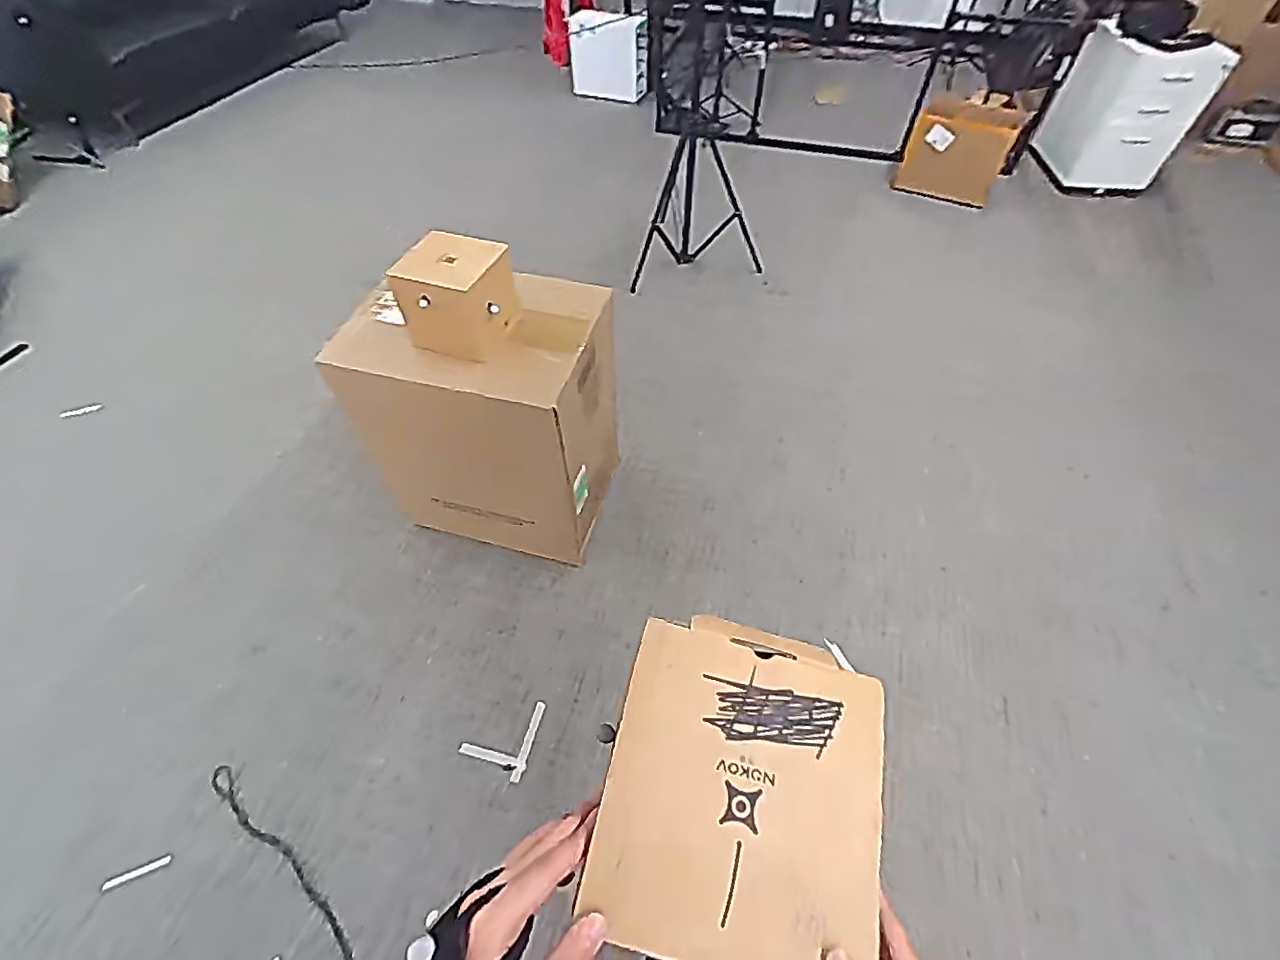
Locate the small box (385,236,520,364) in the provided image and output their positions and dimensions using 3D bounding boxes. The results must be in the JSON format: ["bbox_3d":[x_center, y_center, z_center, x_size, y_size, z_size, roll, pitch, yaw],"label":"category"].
[{"bbox_3d":[-0.362,-0.357,1.087,0.179,0.176,0.168,15,54,12],"label":"small box"}]

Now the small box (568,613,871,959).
[{"bbox_3d":[0.050,0.222,0.395,0.168,0.176,0.179,14,60,3],"label":"small box"}]
